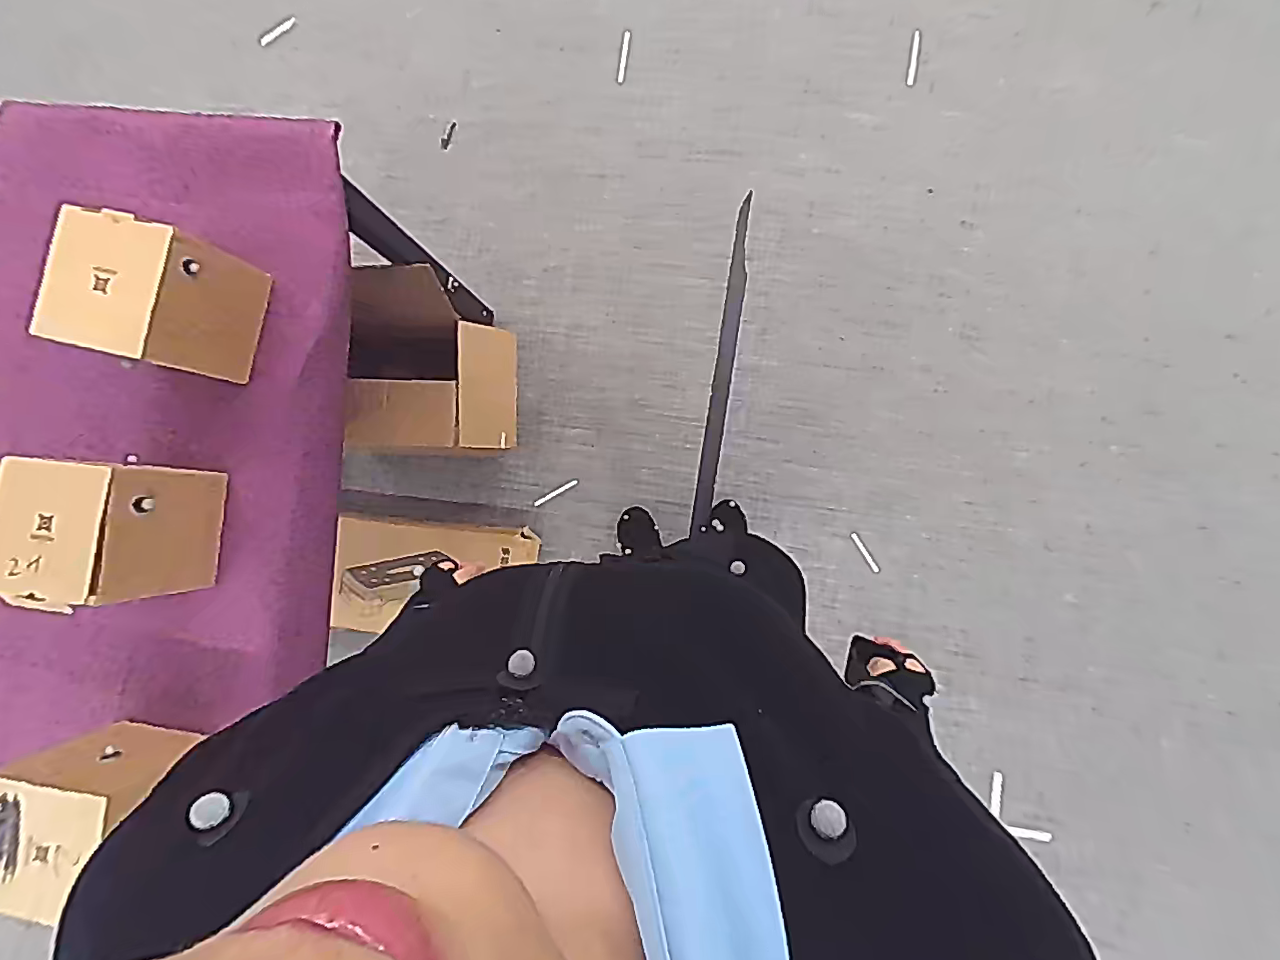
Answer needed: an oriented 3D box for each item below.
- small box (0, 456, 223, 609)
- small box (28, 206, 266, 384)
[{"bbox_3d":[-0.728,0.068,0.750,0.168,0.176,0.179,5,88,8],"label":"small box"},{"bbox_3d":[-0.672,-0.246,0.758,0.168,0.176,0.179,13,89,6],"label":"small box"}]
